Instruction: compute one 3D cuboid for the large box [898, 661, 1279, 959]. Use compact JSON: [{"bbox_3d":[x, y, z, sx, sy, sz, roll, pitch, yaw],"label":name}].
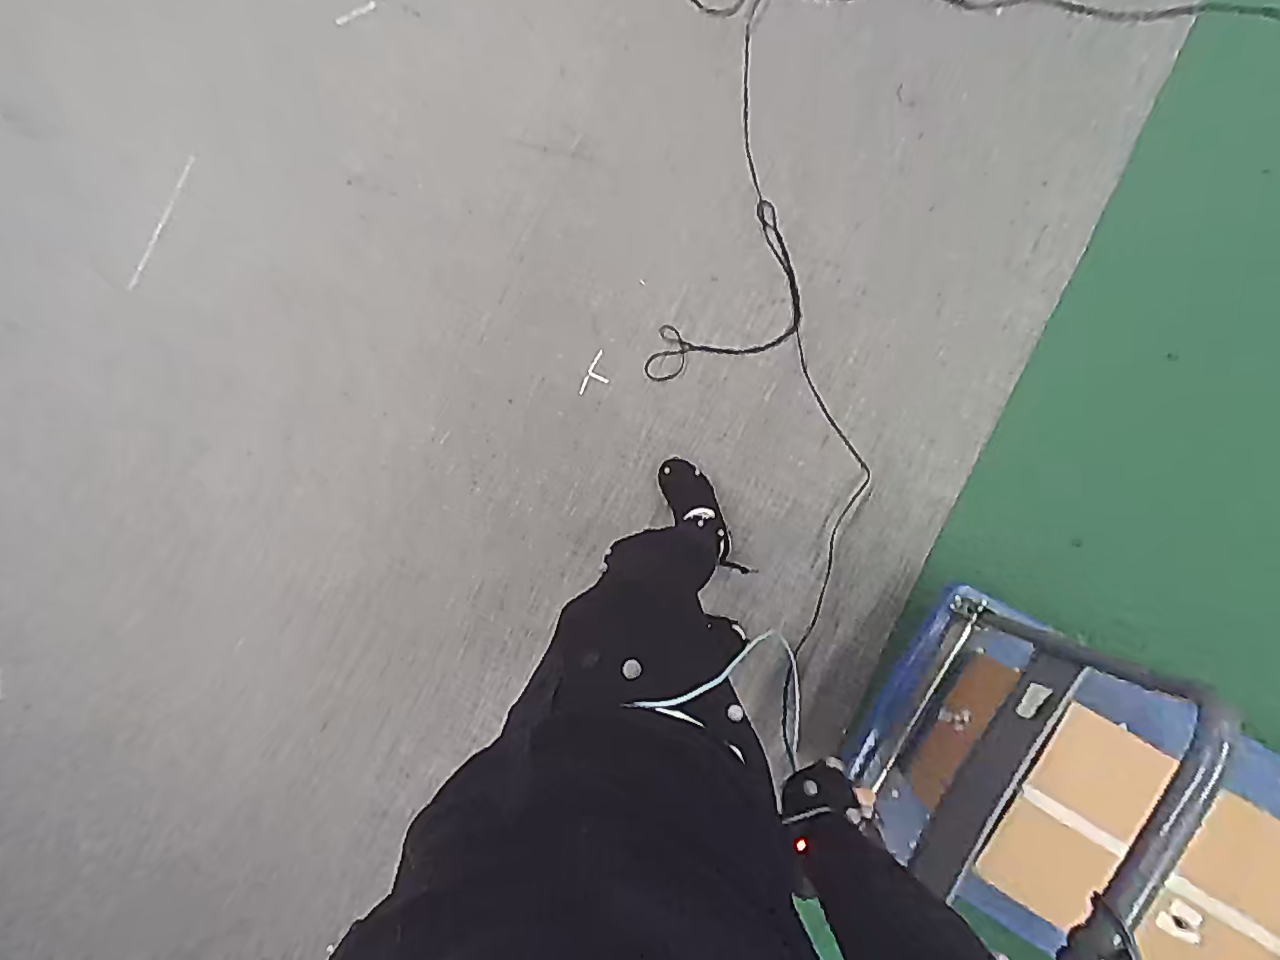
[{"bbox_3d":[0.763,0.590,0.965,0.408,0.320,0.320,31,91,8],"label":"large box"}]
